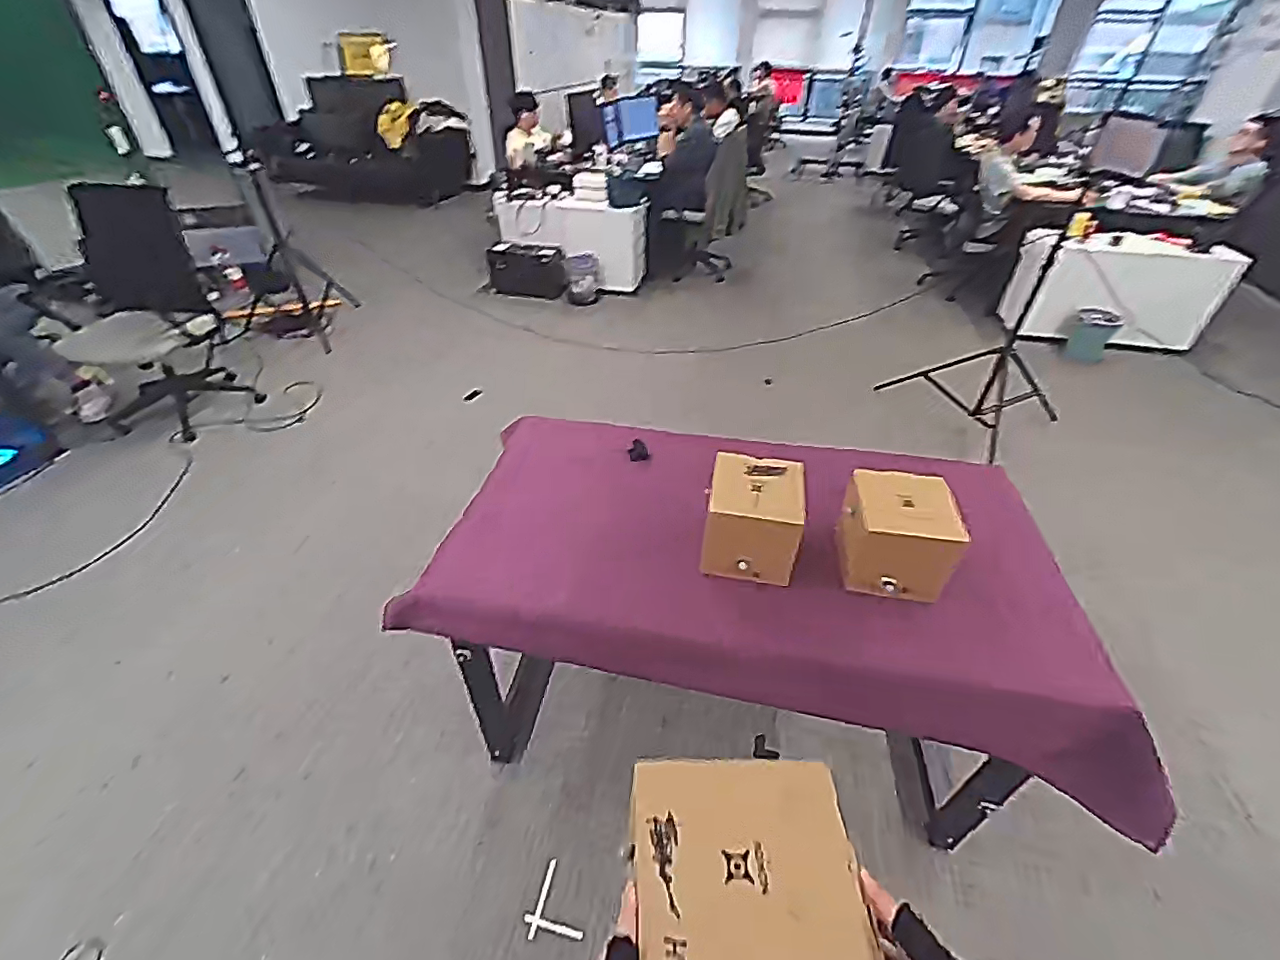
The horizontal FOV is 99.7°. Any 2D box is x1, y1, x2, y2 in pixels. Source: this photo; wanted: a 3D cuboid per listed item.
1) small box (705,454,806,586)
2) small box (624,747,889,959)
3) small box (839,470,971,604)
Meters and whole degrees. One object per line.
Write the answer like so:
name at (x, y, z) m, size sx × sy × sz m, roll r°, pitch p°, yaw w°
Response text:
small box at (0.219, 0.076, 1.045) m, size 0.168 × 0.176 × 0.179 m, roll 8°, pitch 40°, yaw 9°
small box at (0.079, 0.354, 0.464) m, size 0.179 × 0.176 × 0.168 m, roll 3°, pitch 36°, yaw -3°
small box at (0.483, 0.105, 1.018) m, size 0.168 × 0.176 × 0.179 m, roll 6°, pitch 40°, yaw 8°
